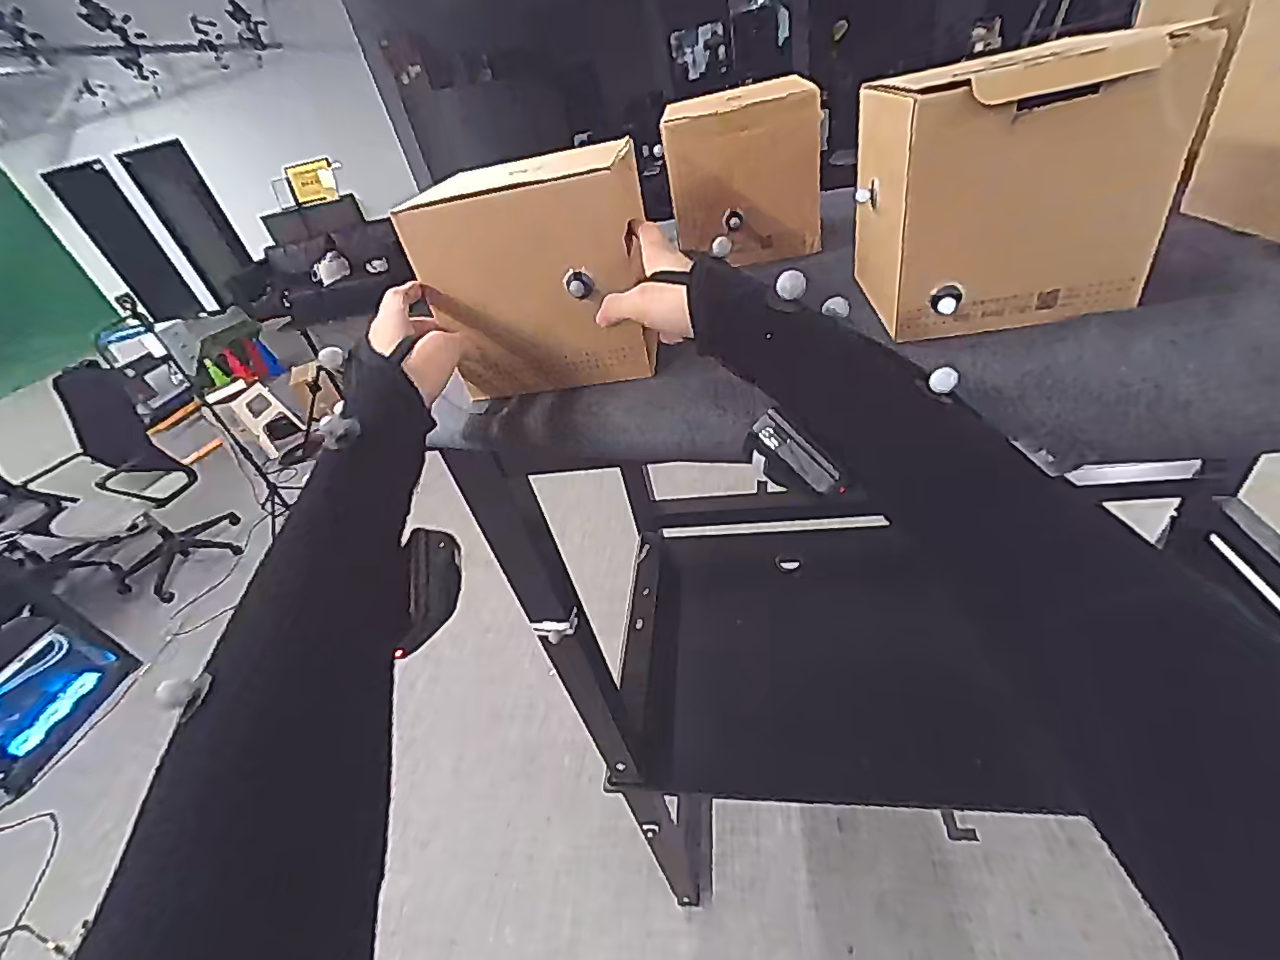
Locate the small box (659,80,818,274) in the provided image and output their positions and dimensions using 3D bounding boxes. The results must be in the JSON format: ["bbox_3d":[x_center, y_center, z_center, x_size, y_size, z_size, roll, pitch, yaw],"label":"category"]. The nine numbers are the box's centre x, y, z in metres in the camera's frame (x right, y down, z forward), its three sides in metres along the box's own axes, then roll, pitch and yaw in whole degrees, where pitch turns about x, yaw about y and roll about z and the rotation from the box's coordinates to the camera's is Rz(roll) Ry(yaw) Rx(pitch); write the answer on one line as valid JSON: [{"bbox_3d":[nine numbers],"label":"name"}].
[{"bbox_3d":[0.122,-0.375,0.673,0.168,0.176,0.179,-6,39,11],"label":"small box"}]

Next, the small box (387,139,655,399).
[{"bbox_3d":[-0.085,-0.192,0.499,0.179,0.176,0.168,-6,37,10],"label":"small box"}]

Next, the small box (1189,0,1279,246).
[{"bbox_3d":[0.575,-0.279,0.395,0.168,0.176,0.179,-6,37,12],"label":"small box"}]
